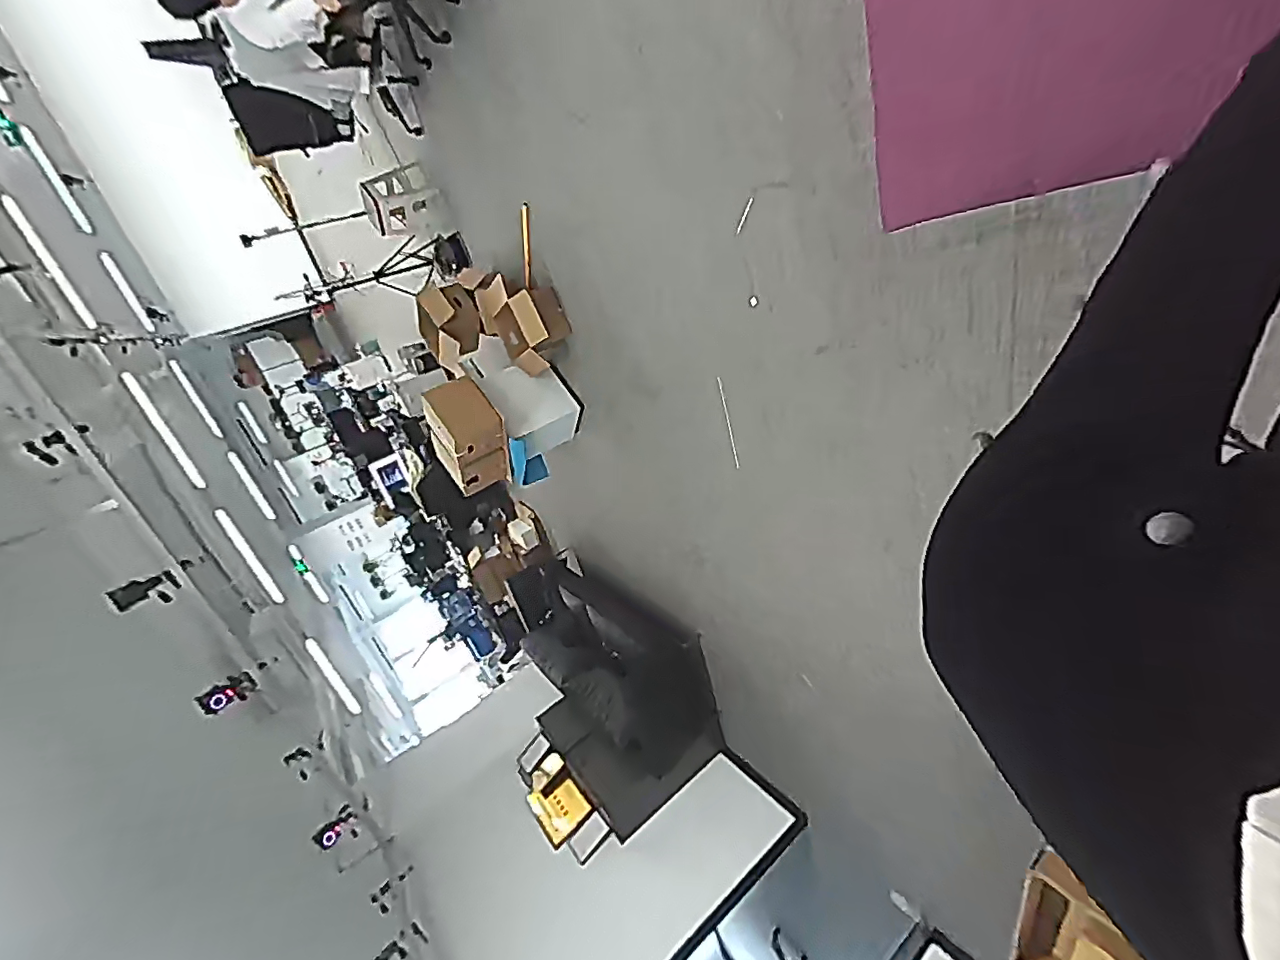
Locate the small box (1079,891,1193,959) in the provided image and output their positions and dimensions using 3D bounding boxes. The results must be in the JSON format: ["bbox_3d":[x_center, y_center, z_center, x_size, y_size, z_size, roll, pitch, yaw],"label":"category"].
[{"bbox_3d":[1.271,1.216,1.388,0.168,0.176,0.179,26,139,51],"label":"small box"}]
